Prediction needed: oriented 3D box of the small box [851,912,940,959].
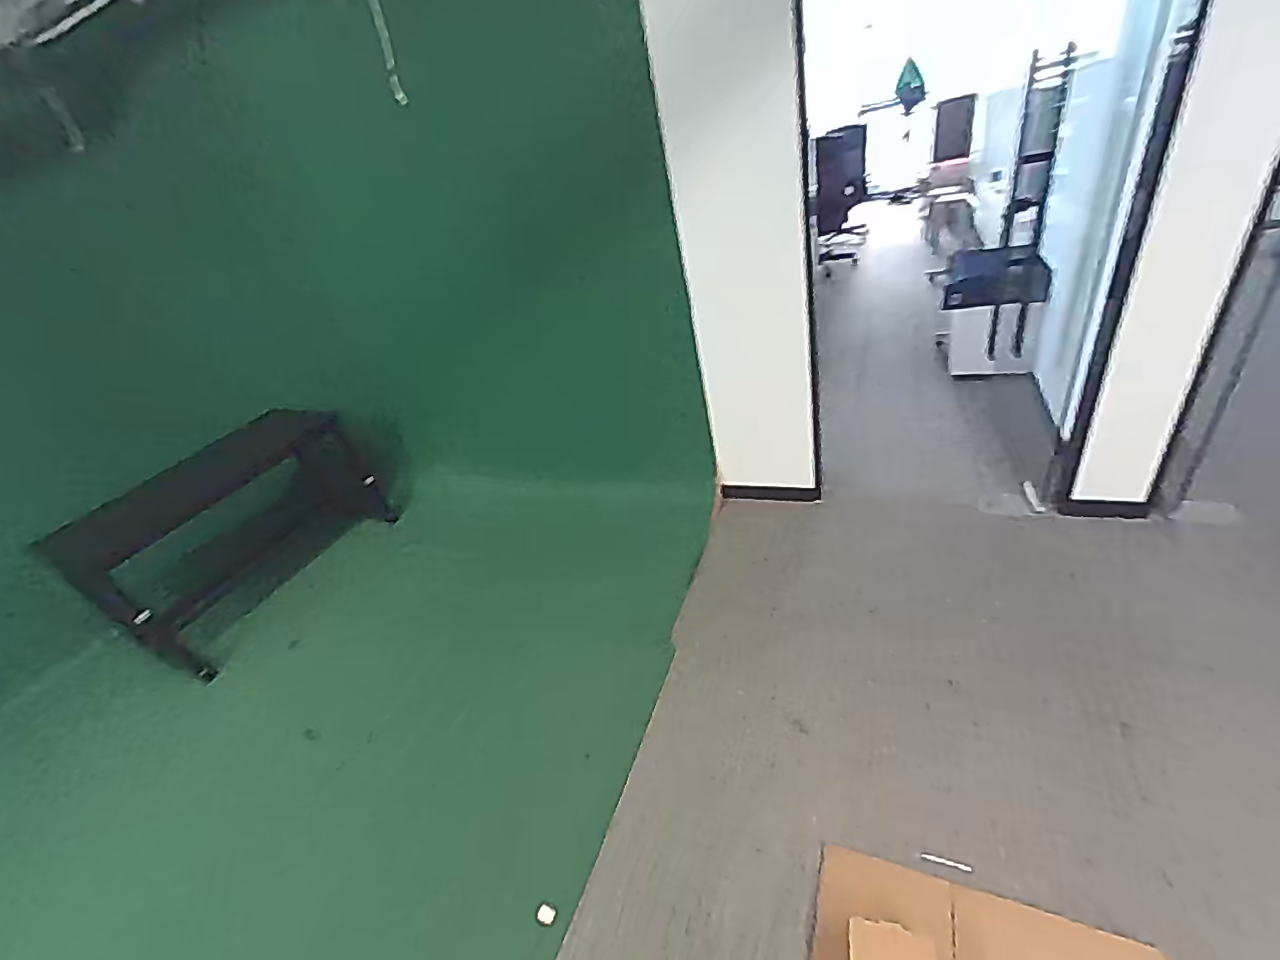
[{"bbox_3d":[0.528,1.050,1.121,0.168,0.176,0.179,0,36,21],"label":"small box"}]
